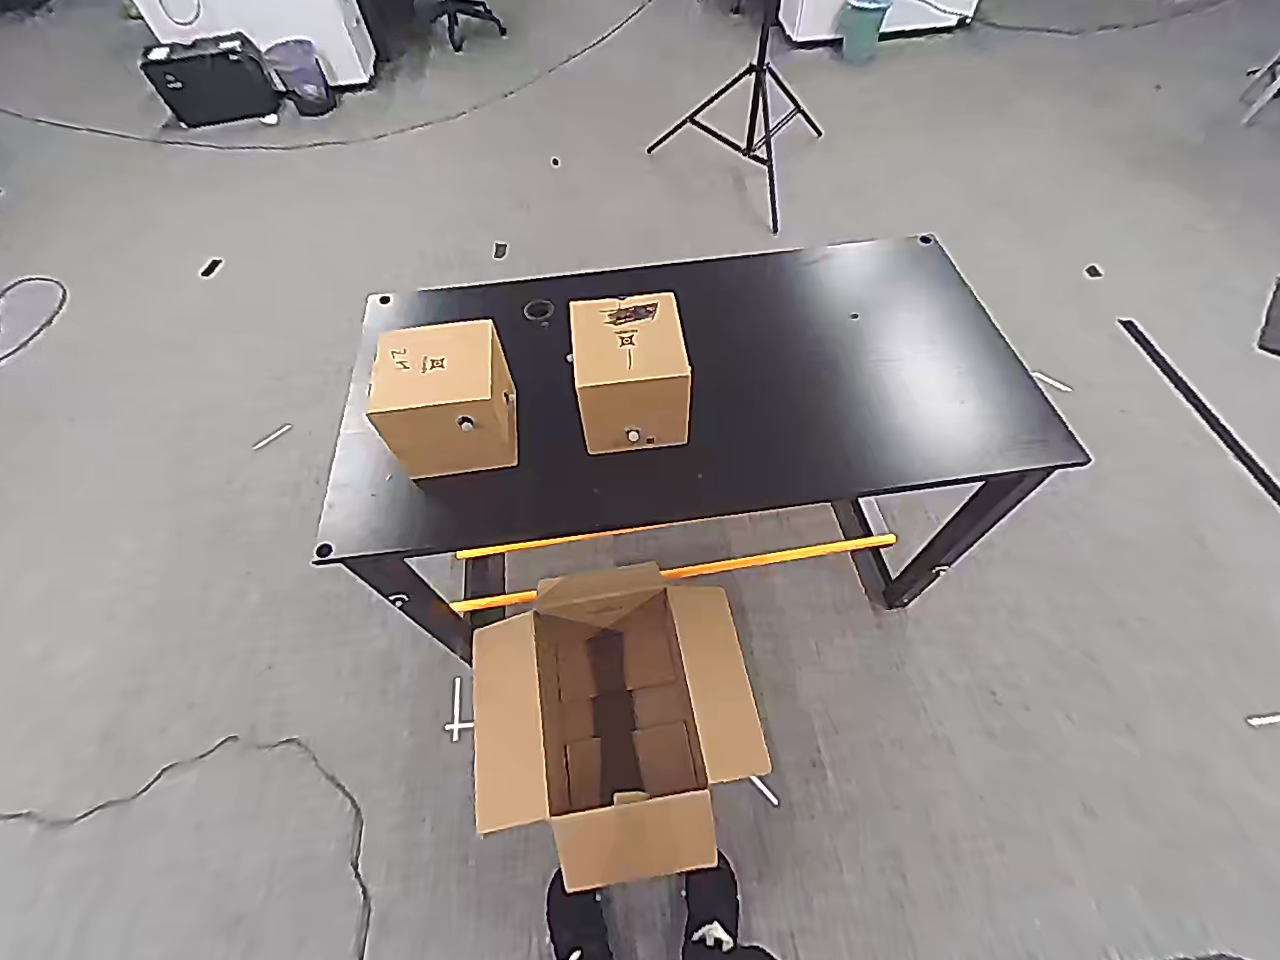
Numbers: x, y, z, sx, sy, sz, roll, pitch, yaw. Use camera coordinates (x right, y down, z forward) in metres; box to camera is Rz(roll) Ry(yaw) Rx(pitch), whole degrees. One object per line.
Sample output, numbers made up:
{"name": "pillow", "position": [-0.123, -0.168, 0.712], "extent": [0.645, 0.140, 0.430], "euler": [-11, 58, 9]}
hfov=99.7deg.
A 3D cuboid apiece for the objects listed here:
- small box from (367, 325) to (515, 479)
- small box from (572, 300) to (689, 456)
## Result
{"name": "small box", "position": [-0.299, -0.120, 0.859], "extent": [0.179, 0.176, 0.168], "euler": [-8, 57, -3]}
{"name": "small box", "position": [-0.018, -0.162, 0.875], "extent": [0.168, 0.176, 0.179], "euler": [-7, 58, -1]}
